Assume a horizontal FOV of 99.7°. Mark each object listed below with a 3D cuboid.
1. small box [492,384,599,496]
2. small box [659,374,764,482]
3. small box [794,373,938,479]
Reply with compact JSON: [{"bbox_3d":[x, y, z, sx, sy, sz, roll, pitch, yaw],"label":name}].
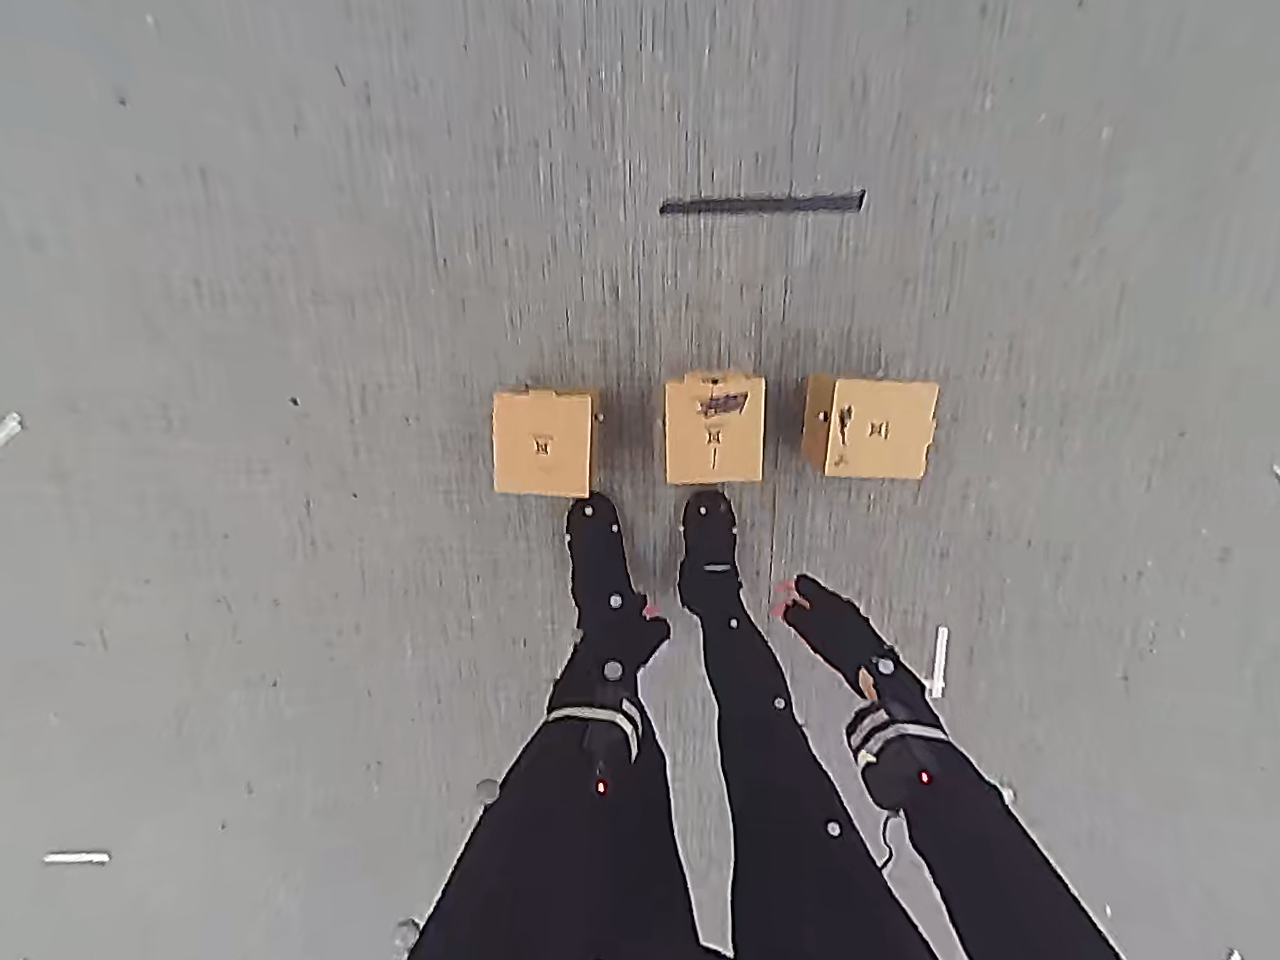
[{"bbox_3d":[-0.166,-0.080,0.982,0.168,0.176,0.179,2,105,0],"label":"small box"},{"bbox_3d":[0.121,-0.101,0.976,0.168,0.176,0.179,-1,105,0],"label":"small box"},{"bbox_3d":[0.398,-0.104,0.980,0.179,0.176,0.168,2,104,-2],"label":"small box"}]
